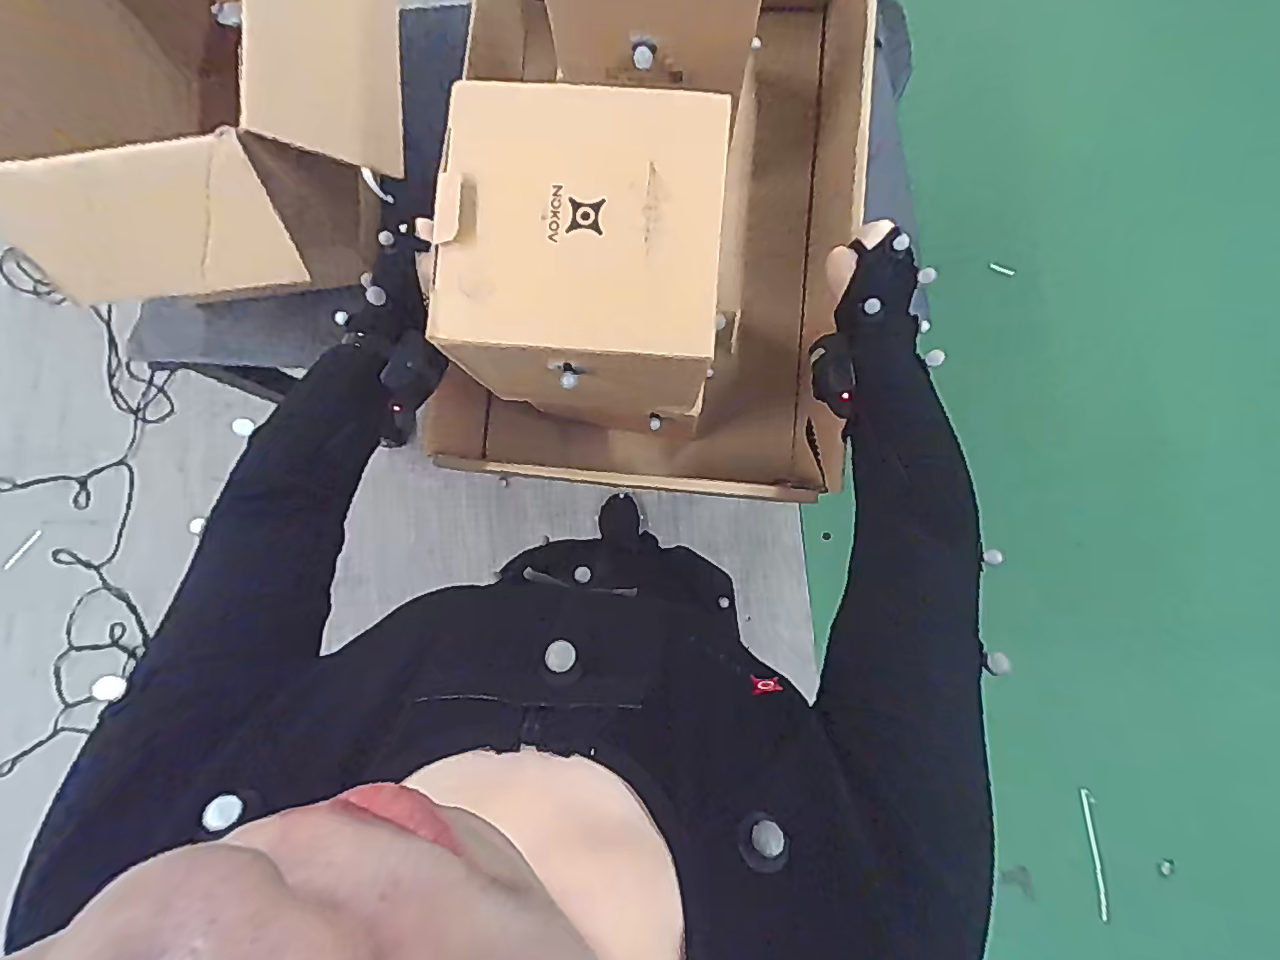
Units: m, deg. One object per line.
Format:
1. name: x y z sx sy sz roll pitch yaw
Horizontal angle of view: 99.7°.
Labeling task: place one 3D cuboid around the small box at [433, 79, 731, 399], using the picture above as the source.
1. small box: -0.034 -0.161 0.414 0.179 0.176 0.168 4 88 1

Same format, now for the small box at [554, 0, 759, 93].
1. small box: 0.017 -0.451 0.420 0.168 0.176 0.179 5 90 2
